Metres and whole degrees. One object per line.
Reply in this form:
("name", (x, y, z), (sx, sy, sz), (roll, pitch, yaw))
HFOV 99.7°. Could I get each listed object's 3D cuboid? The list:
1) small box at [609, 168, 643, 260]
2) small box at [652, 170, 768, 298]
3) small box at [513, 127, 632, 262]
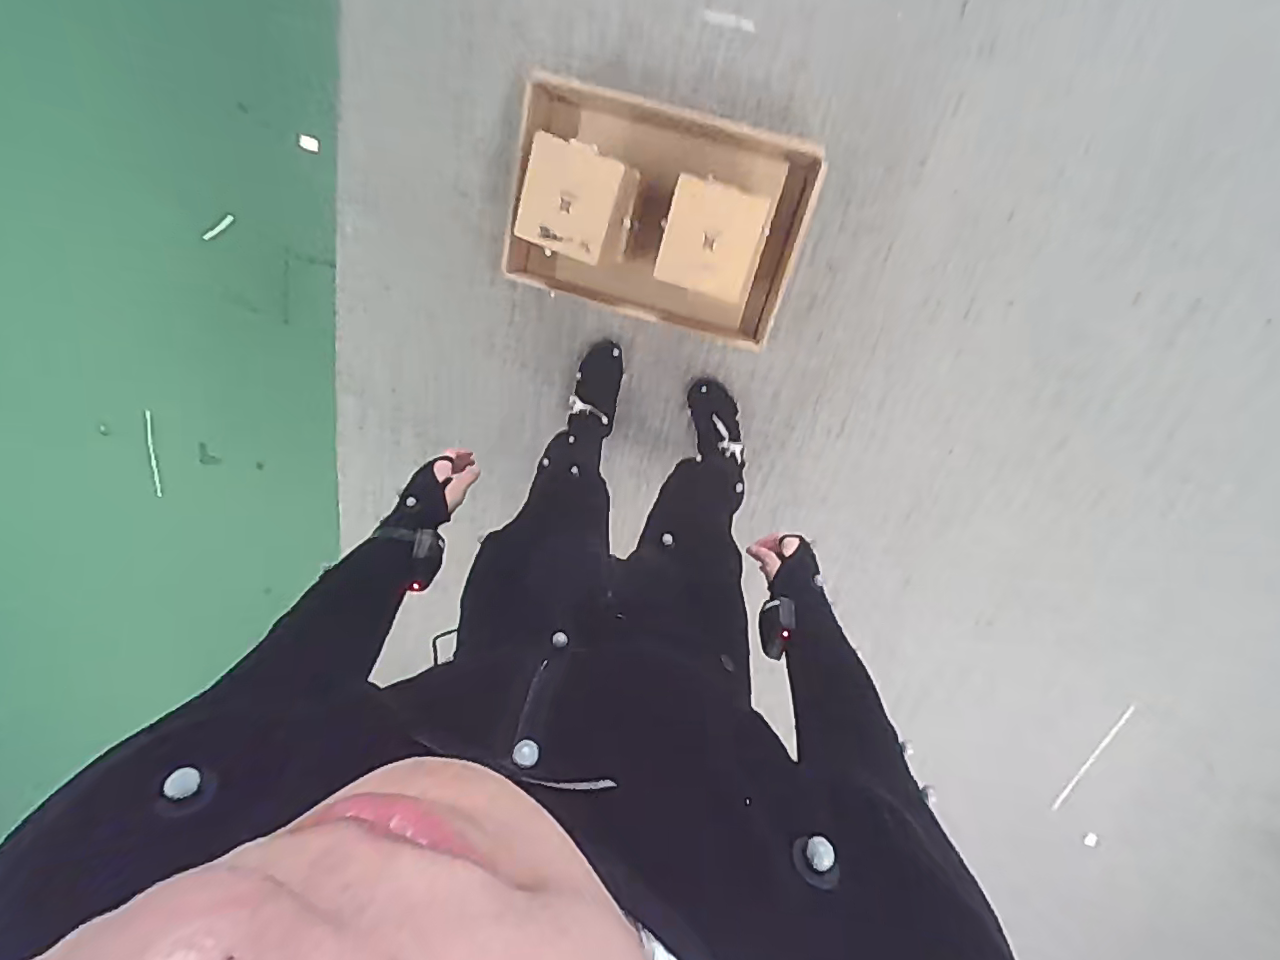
("small box", (-0.095, -0.598, 1.193), (0.168, 0.176, 0.179), (15, 114, 0))
("small box", (0.132, -0.467, 1.038), (0.168, 0.176, 0.179), (18, 114, 2))
("small box", (-0.121, -0.537, 1.041), (0.168, 0.176, 0.179), (22, 113, -1))
